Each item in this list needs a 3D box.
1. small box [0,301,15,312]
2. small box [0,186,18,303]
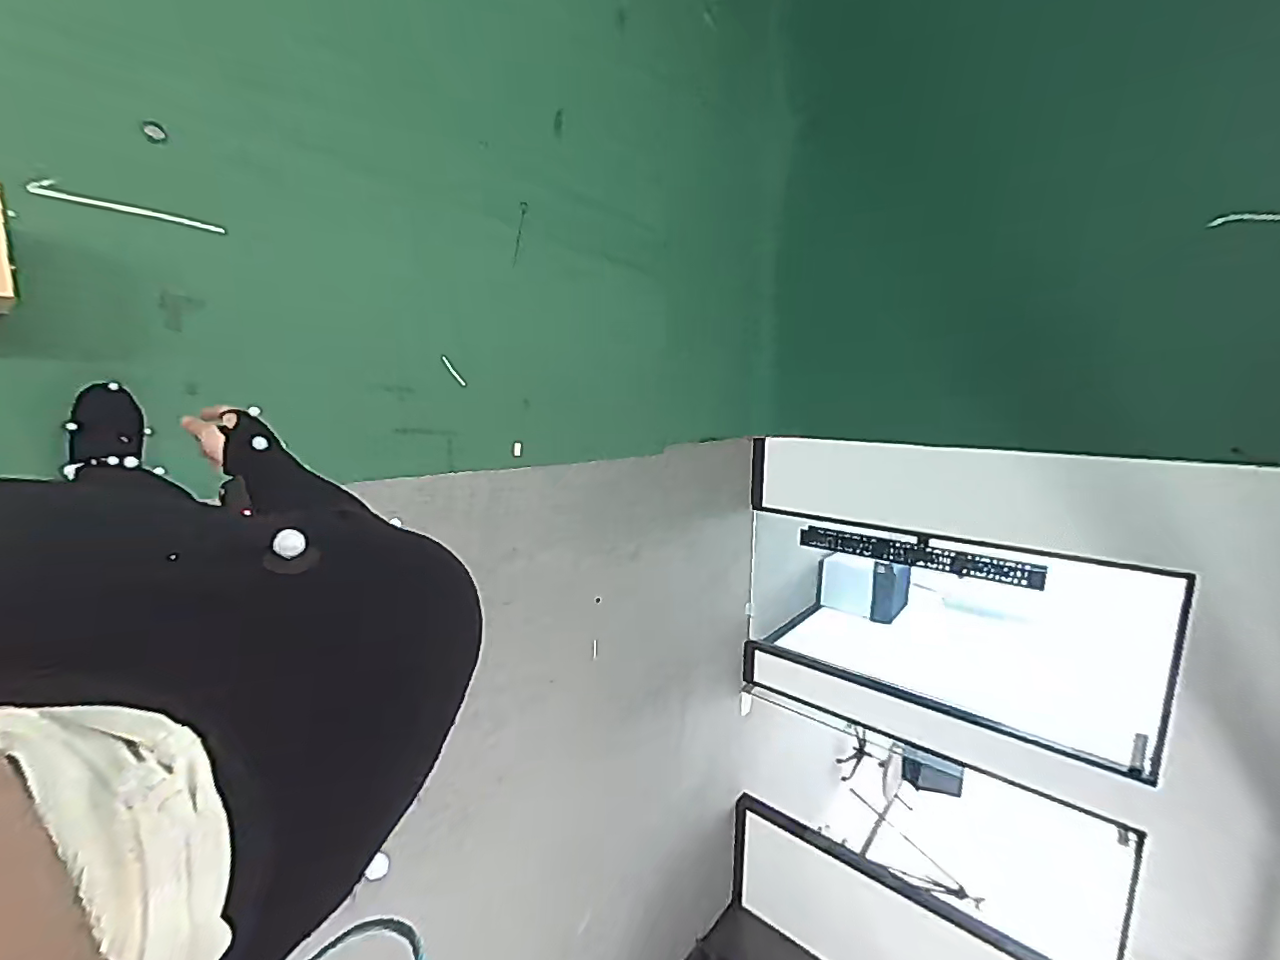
[{"bbox_3d":[-1.227,-0.397,0.940,0.168,0.176,0.179,-9,105,-48],"label":"small box"},{"bbox_3d":[-1.102,-0.379,0.839,0.168,0.176,0.179,-9,103,-48],"label":"small box"}]
